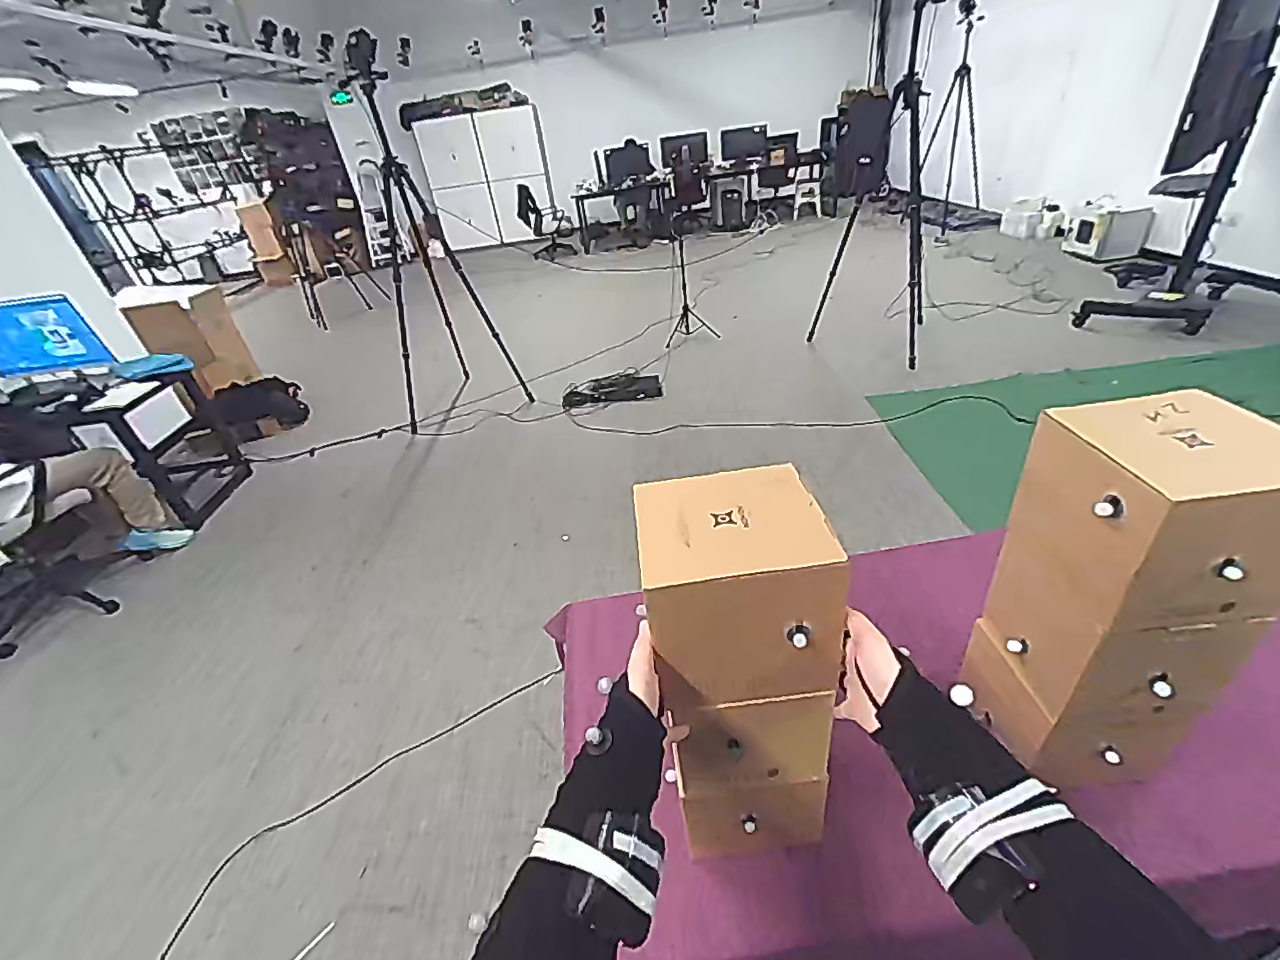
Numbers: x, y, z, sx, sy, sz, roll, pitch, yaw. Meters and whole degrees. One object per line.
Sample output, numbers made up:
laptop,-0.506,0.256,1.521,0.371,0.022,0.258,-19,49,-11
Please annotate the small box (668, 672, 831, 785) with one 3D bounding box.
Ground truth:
small box,0.118,0.239,0.647,0.168,0.176,0.179,-8,33,2

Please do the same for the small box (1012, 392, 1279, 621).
small box,0.531,0.030,0.560,0.168,0.176,0.179,-7,33,4

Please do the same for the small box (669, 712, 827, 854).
small box,0.136,0.375,0.735,0.179,0.176,0.168,-9,34,1

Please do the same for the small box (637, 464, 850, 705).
small box,0.095,0.105,0.556,0.179,0.176,0.168,-8,32,2

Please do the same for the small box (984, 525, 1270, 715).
small box,0.555,0.164,0.653,0.168,0.176,0.179,-6,35,5
